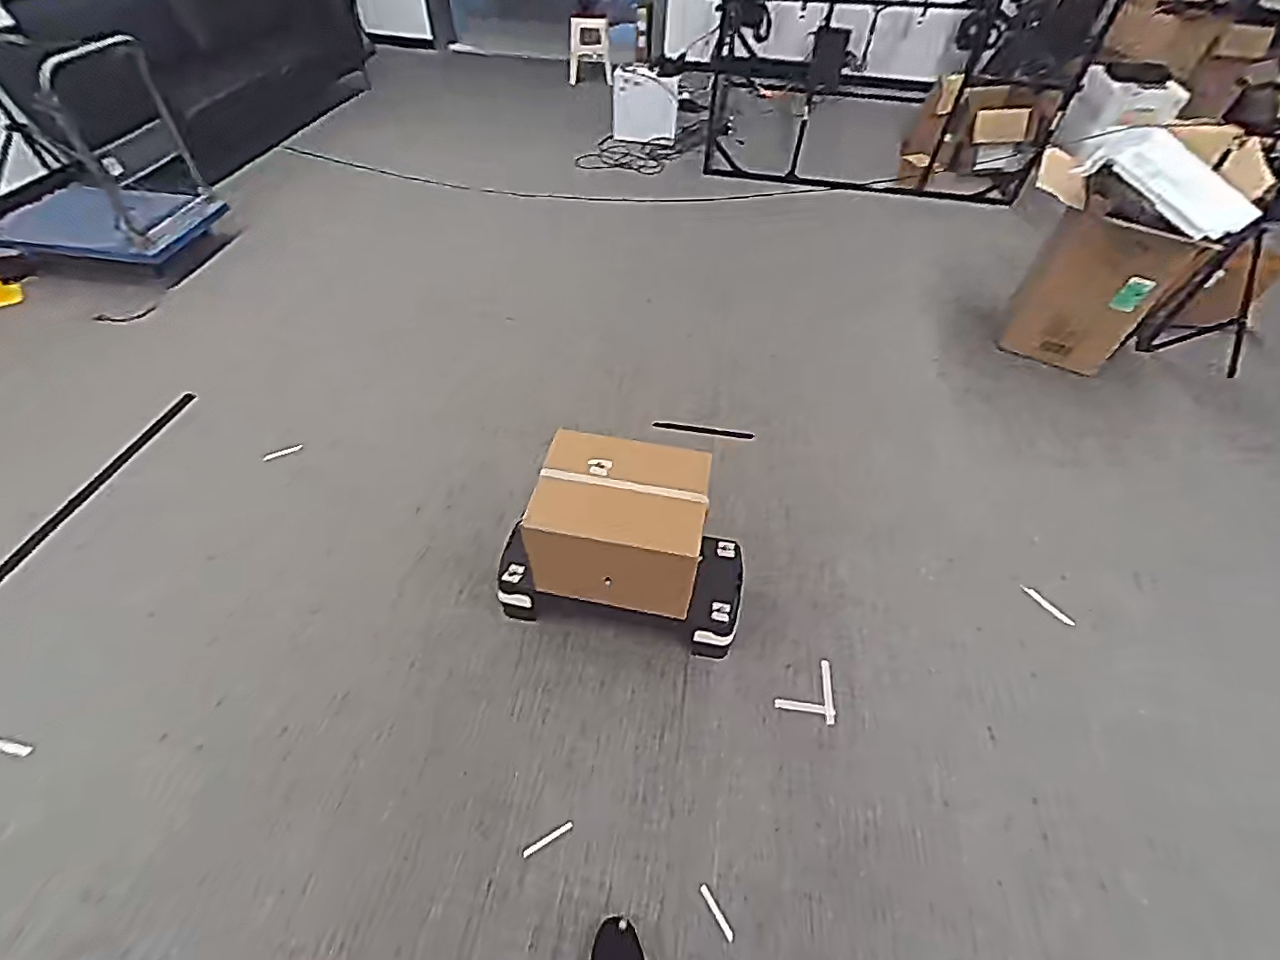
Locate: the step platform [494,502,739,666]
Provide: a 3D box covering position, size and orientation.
[{"bbox_3d":[-0.063,0.283,1.554,0.684,0.204,0.286,13,51,10],"label":"step platform"}]

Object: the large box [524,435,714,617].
[{"bbox_3d":[-0.036,0.120,1.379,0.408,0.320,0.320,9,50,6],"label":"large box"}]
